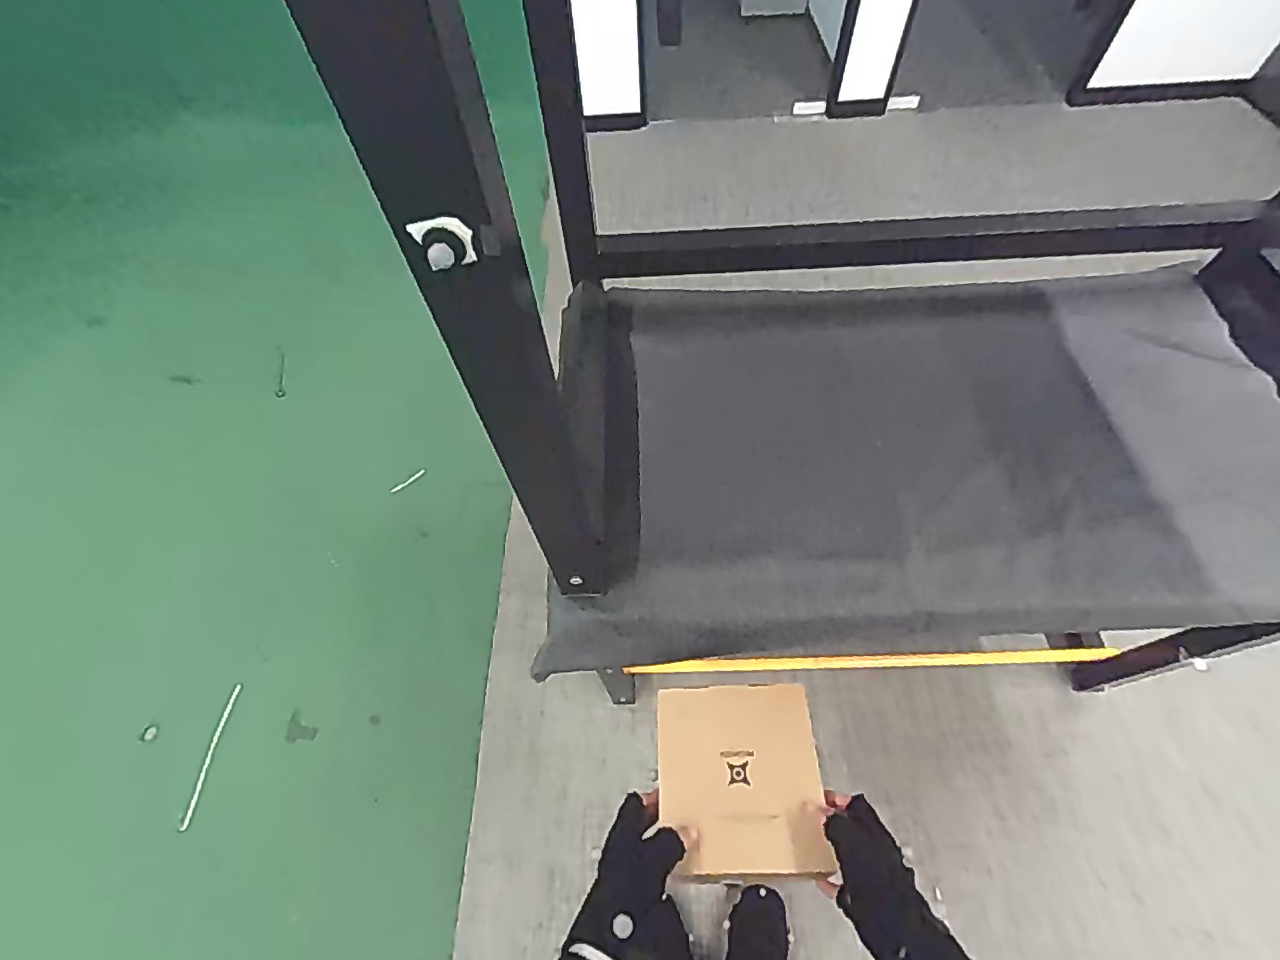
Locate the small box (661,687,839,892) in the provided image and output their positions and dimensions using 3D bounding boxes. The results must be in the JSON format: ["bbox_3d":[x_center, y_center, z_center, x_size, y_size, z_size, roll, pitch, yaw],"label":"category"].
[{"bbox_3d":[0.112,0.355,0.618,0.168,0.176,0.179,-5,50,6],"label":"small box"}]
